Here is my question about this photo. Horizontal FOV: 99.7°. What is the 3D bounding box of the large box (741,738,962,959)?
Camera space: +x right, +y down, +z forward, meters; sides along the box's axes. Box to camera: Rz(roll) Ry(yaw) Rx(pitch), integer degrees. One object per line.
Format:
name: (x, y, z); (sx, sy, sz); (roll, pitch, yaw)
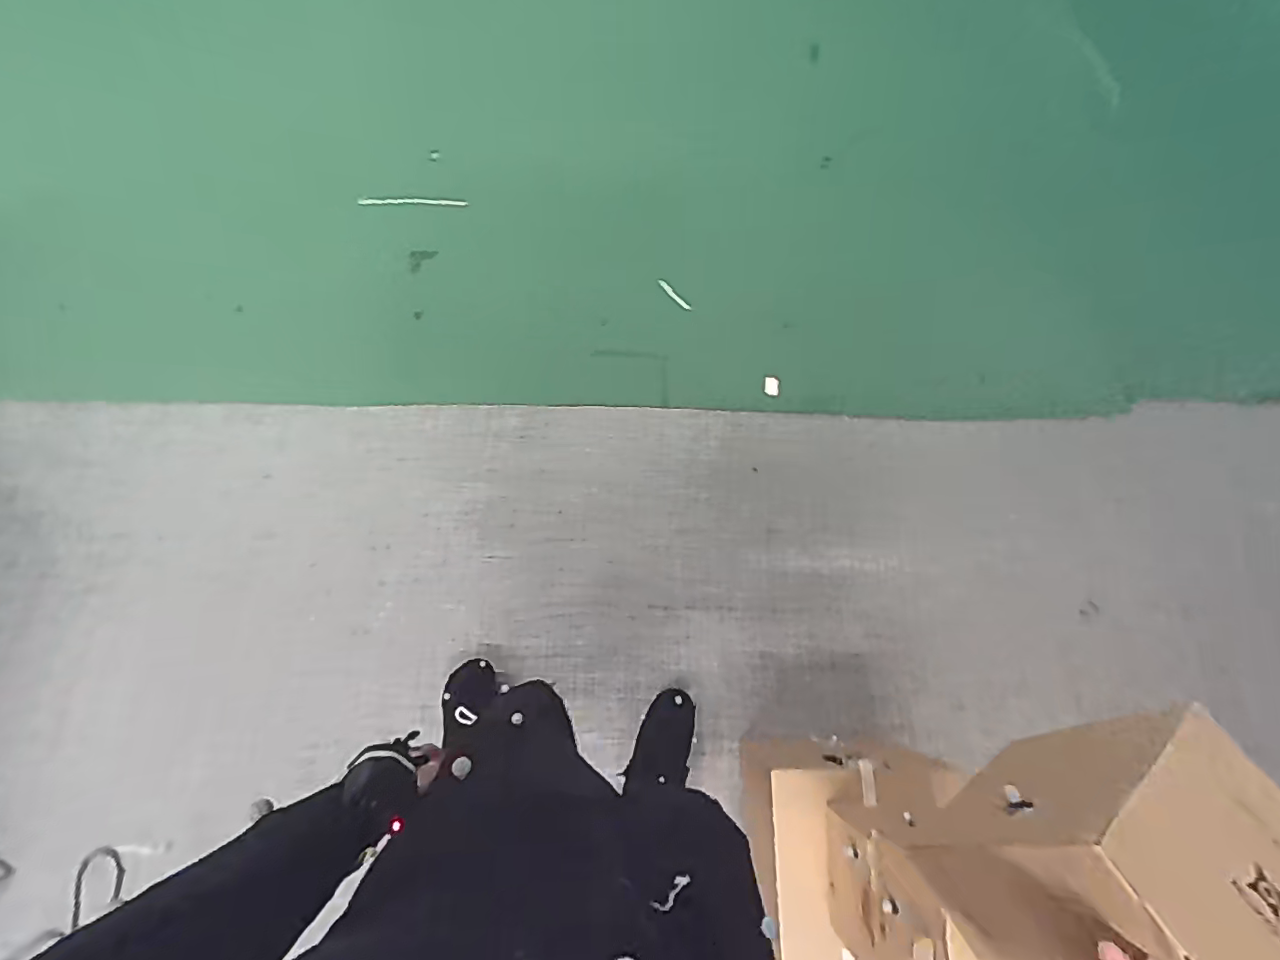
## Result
large box: (0.366, 0.699, 0.951); (0.320, 0.320, 0.408); (0, 74, 2)

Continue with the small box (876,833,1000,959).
small box: (0.377, 0.507, 0.584); (0.179, 0.176, 0.168); (6, 73, 2)
